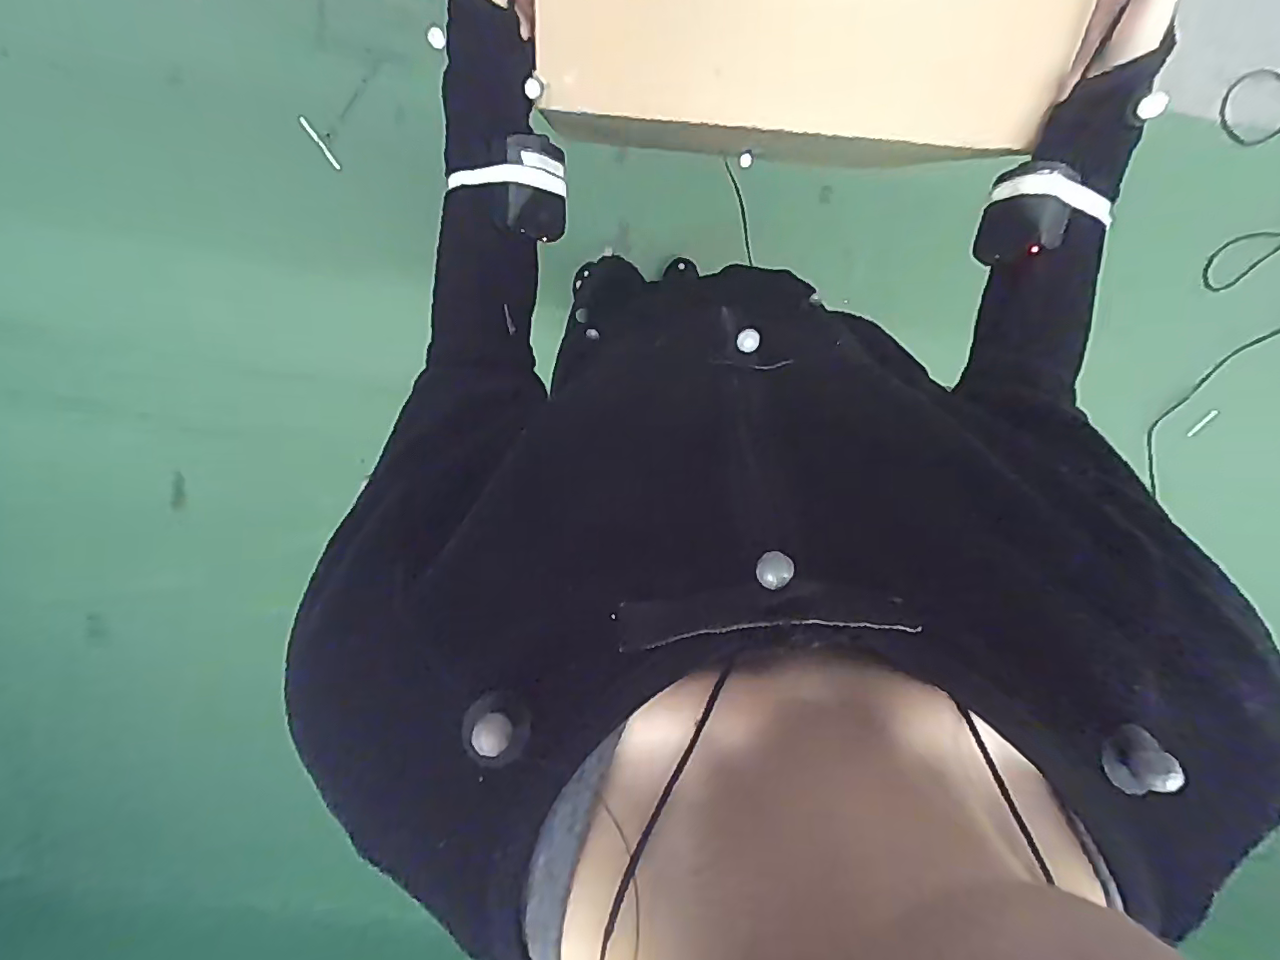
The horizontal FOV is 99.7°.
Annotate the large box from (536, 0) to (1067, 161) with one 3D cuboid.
[{"bbox_3d":[0.121,-0.483,0.496,0.408,0.320,0.320,2,117,-4],"label":"large box"}]
